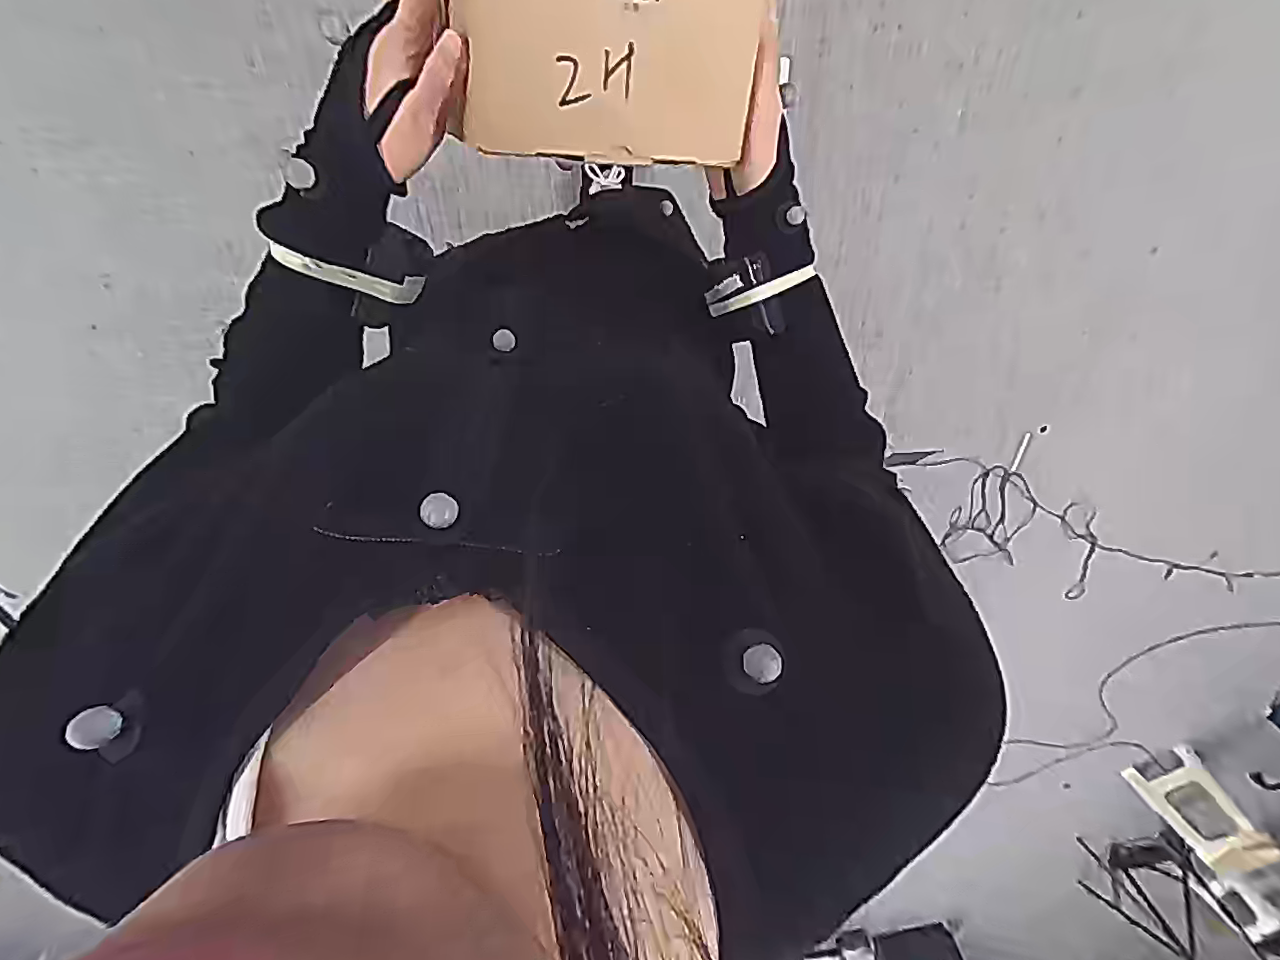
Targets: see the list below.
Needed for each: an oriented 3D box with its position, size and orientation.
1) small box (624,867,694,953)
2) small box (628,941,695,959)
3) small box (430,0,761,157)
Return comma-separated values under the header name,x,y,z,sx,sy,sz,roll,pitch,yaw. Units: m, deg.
name,x,y,z,sx,sy,sz,roll,pitch,yaw
small box,0.045,1.165,1.450,0.168,0.176,0.179,-2,123,-4
small box,0.059,1.258,1.316,0.168,0.176,0.179,-3,124,-4
small box,-0.038,-0.309,0.329,0.168,0.176,0.179,-10,127,-21
